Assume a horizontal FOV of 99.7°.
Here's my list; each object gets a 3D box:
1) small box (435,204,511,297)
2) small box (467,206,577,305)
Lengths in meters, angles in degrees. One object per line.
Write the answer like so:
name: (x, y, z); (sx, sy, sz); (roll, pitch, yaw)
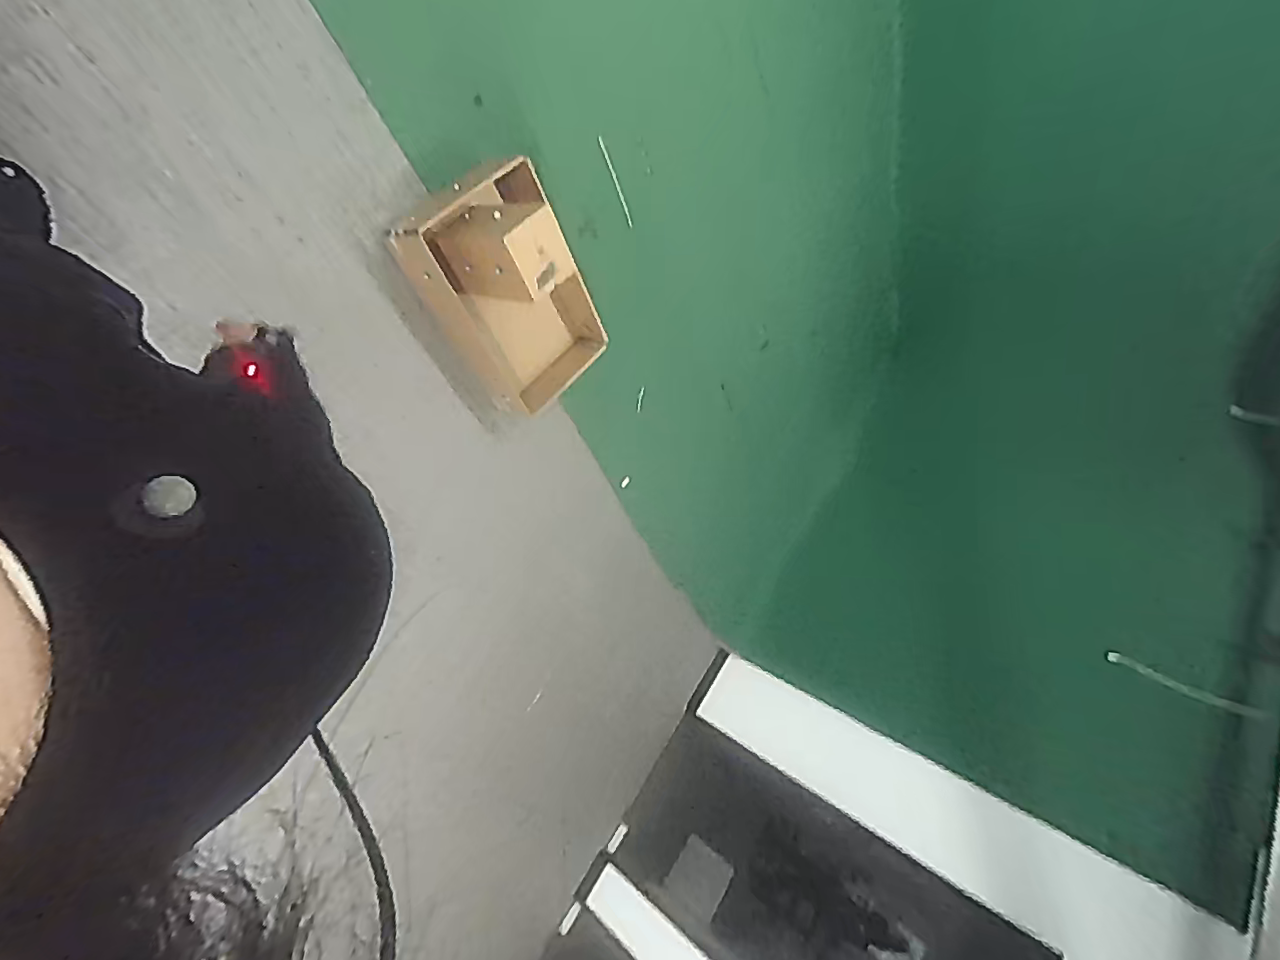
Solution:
small box: (-0.415, -0.619, 1.460); (0.168, 0.176, 0.179); (-50, 140, -22)
small box: (-0.295, -0.568, 1.361); (0.168, 0.176, 0.179); (-50, 139, -24)
